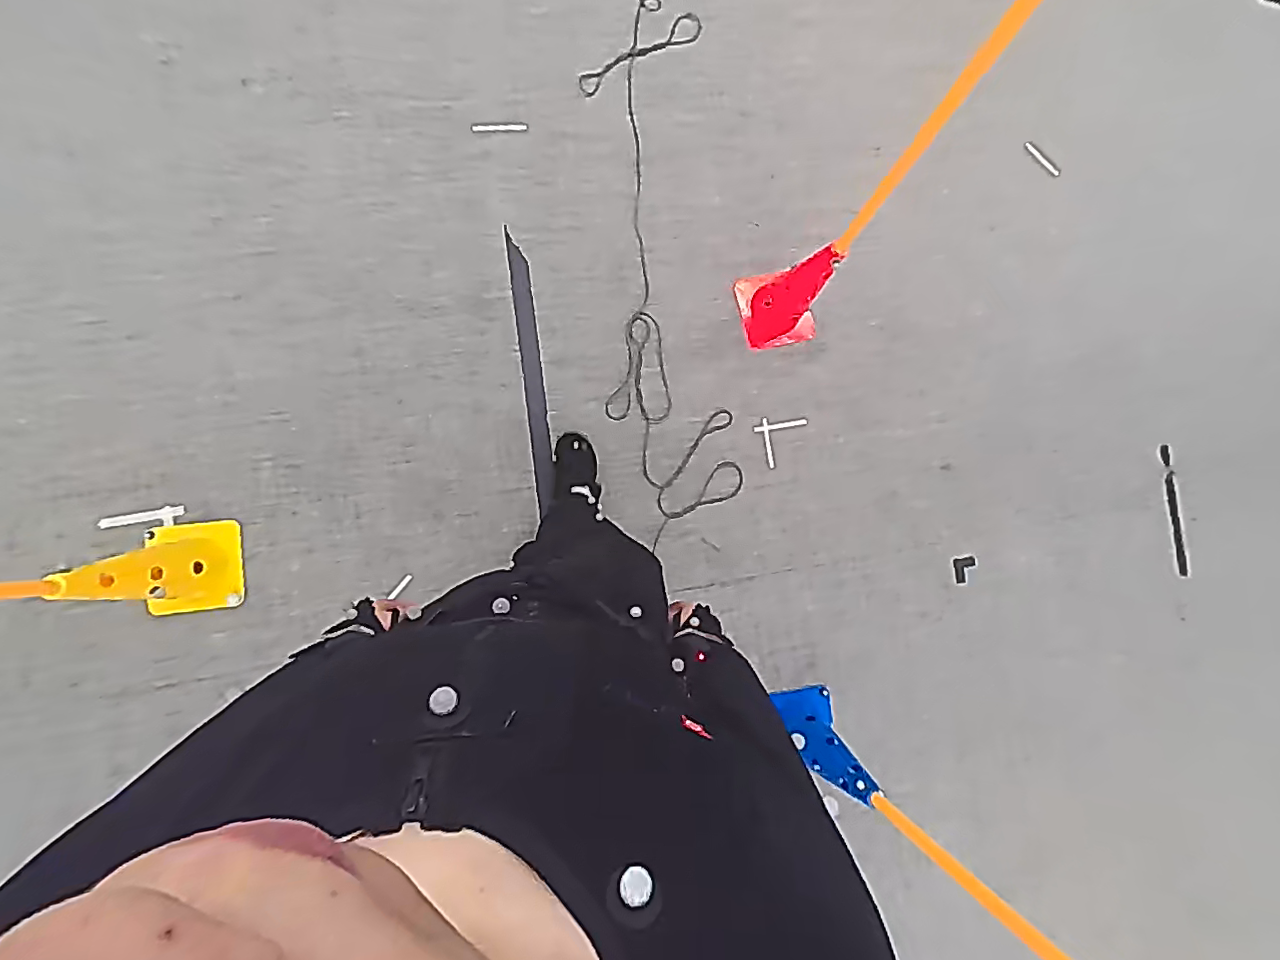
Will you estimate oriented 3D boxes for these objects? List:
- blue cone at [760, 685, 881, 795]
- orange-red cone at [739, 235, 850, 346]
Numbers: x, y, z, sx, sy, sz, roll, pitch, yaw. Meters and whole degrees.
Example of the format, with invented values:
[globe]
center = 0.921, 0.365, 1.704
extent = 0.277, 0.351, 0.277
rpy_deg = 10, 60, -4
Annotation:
[blue cone]
center = 0.436, 0.628, 1.247
extent = 0.193, 0.380, 0.192
rpy_deg = -5, 86, -9
[orange-red cone]
center = 0.399, -0.481, 1.301
extent = 0.199, 0.360, 0.198
rpy_deg = -13, 88, -8
